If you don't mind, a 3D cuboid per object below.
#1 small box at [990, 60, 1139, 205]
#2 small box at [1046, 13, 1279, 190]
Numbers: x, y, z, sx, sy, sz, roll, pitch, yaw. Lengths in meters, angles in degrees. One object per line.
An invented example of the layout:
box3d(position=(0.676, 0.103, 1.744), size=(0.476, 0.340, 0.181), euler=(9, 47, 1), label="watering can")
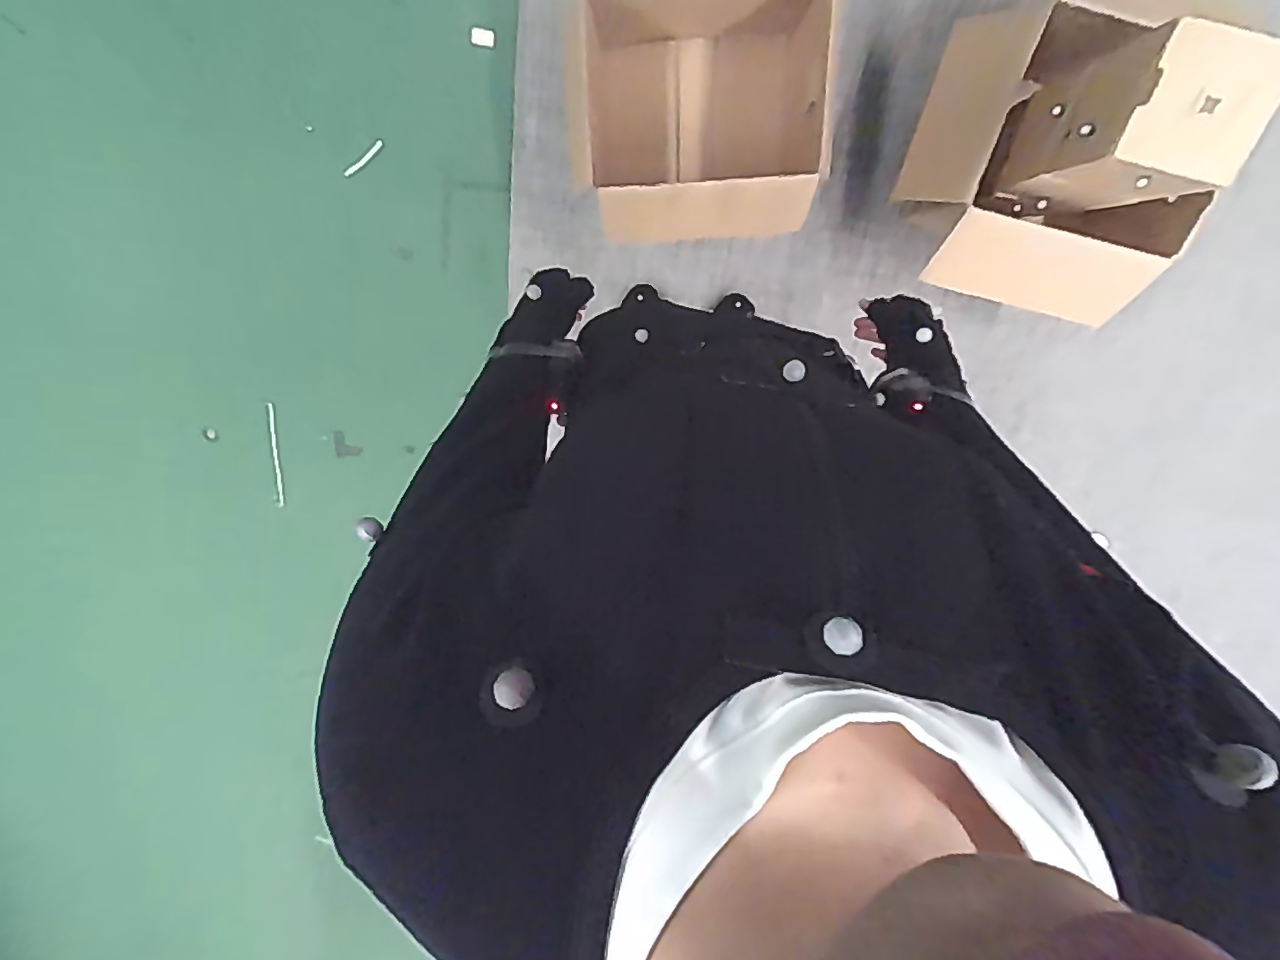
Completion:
box3d(position=(0.777, -0.599, 0.957), size=(0.179, 0.176, 0.168), euler=(13, 111, -1), label="small box")
box3d(position=(0.766, -0.544, 0.805), size=(0.179, 0.176, 0.168), euler=(13, 113, -1), label="small box")
